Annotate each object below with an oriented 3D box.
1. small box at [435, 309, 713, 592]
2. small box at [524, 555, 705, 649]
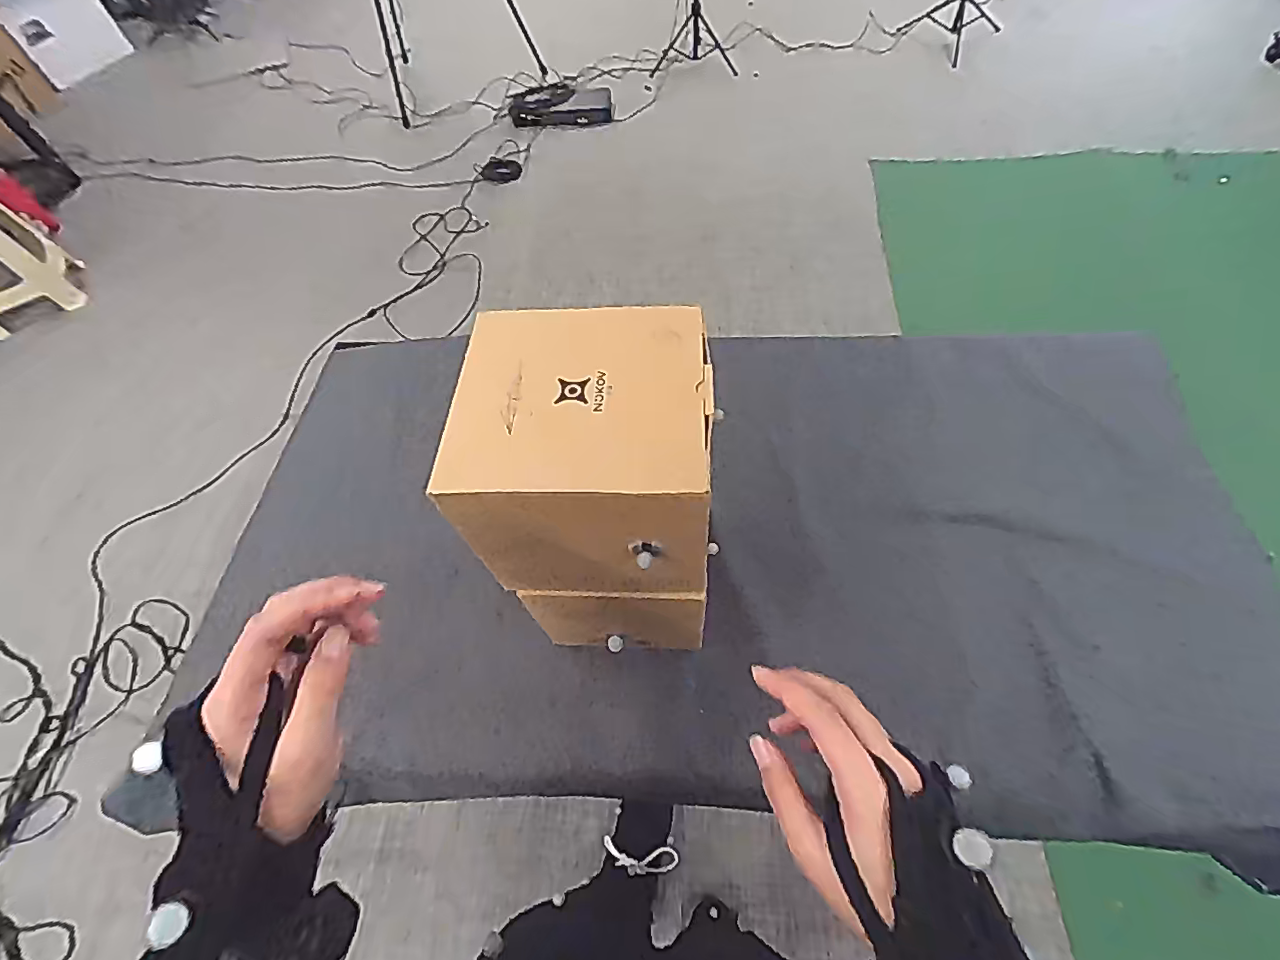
[{"bbox_3d":[-0.034,-0.016,0.441,0.179,0.176,0.168,-1,57,6],"label":"small box"},{"bbox_3d":[-0.016,0.068,0.579,0.168,0.176,0.179,1,59,6],"label":"small box"}]
